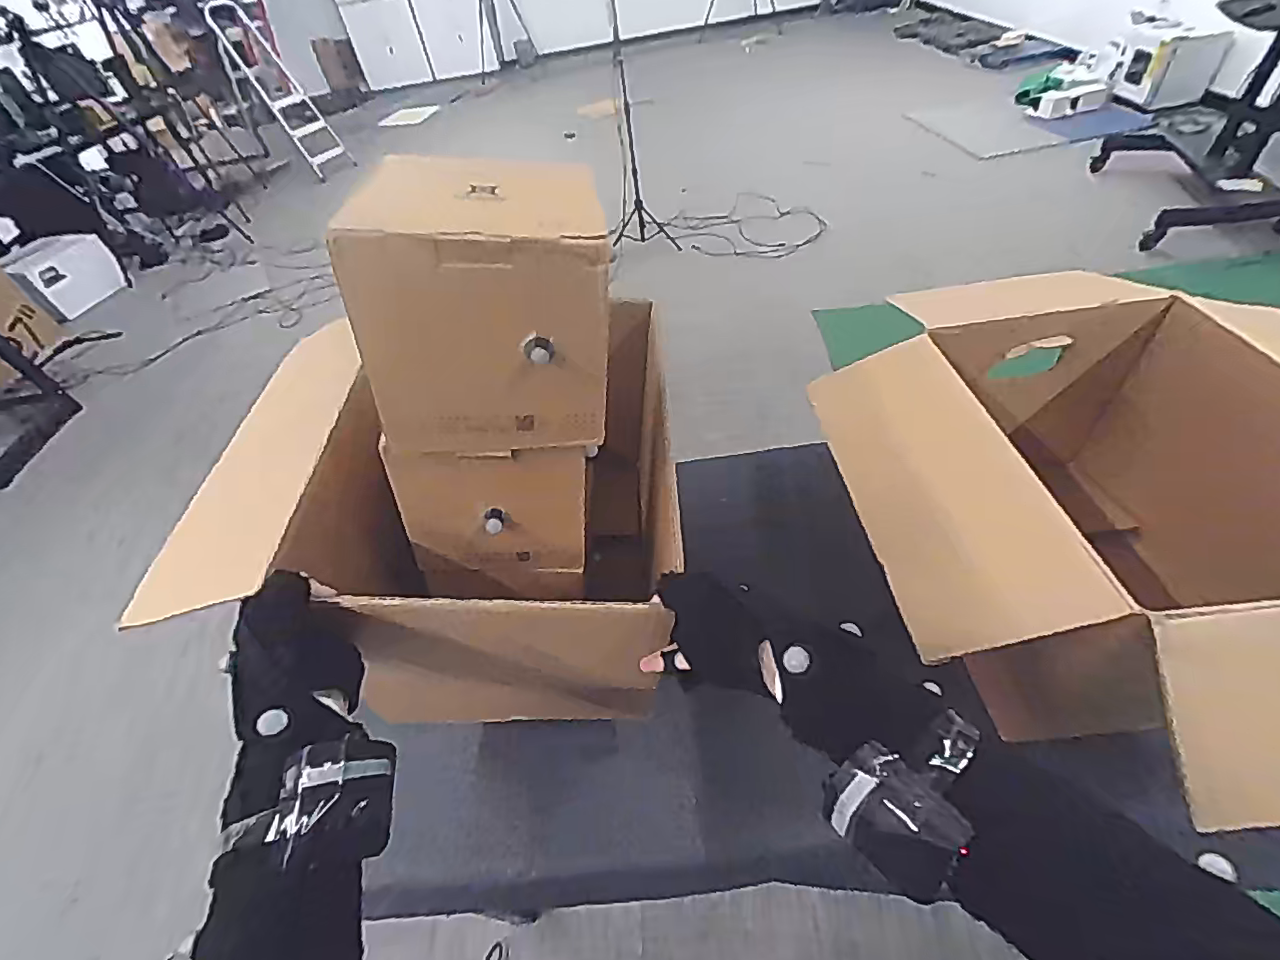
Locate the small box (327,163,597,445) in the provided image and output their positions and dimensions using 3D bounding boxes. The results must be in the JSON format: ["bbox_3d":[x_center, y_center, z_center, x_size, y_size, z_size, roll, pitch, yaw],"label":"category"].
[{"bbox_3d":[-0.122,-0.141,0.444,0.168,0.176,0.179,-1,42,-9],"label":"small box"}]
